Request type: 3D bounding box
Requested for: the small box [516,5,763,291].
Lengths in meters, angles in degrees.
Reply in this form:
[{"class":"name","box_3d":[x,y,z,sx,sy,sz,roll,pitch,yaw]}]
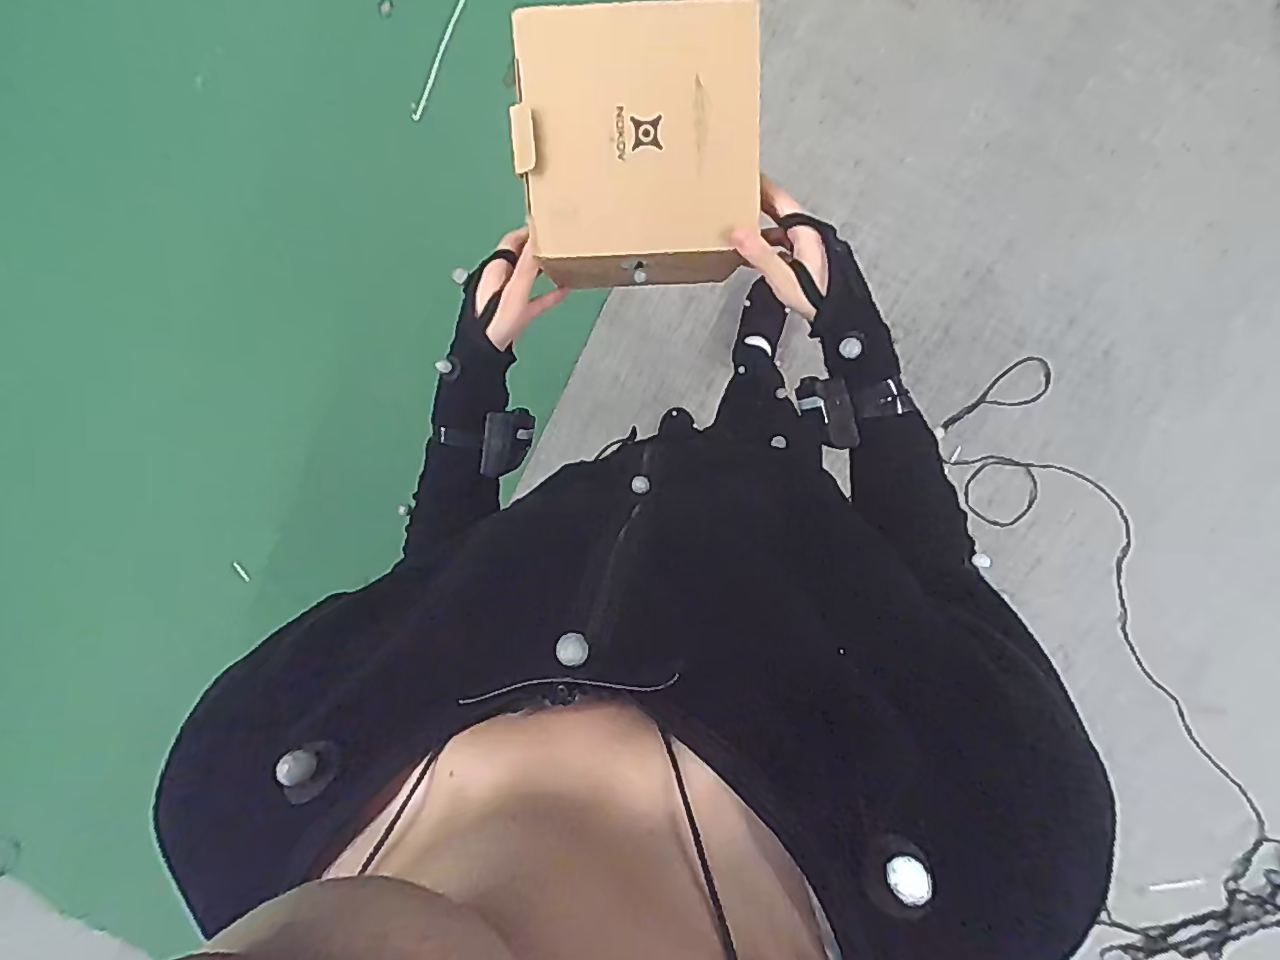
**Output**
[{"class":"small box","box_3d":[0.002,-0.263,0.471,0.179,0.176,0.168,-2,101,0]}]
